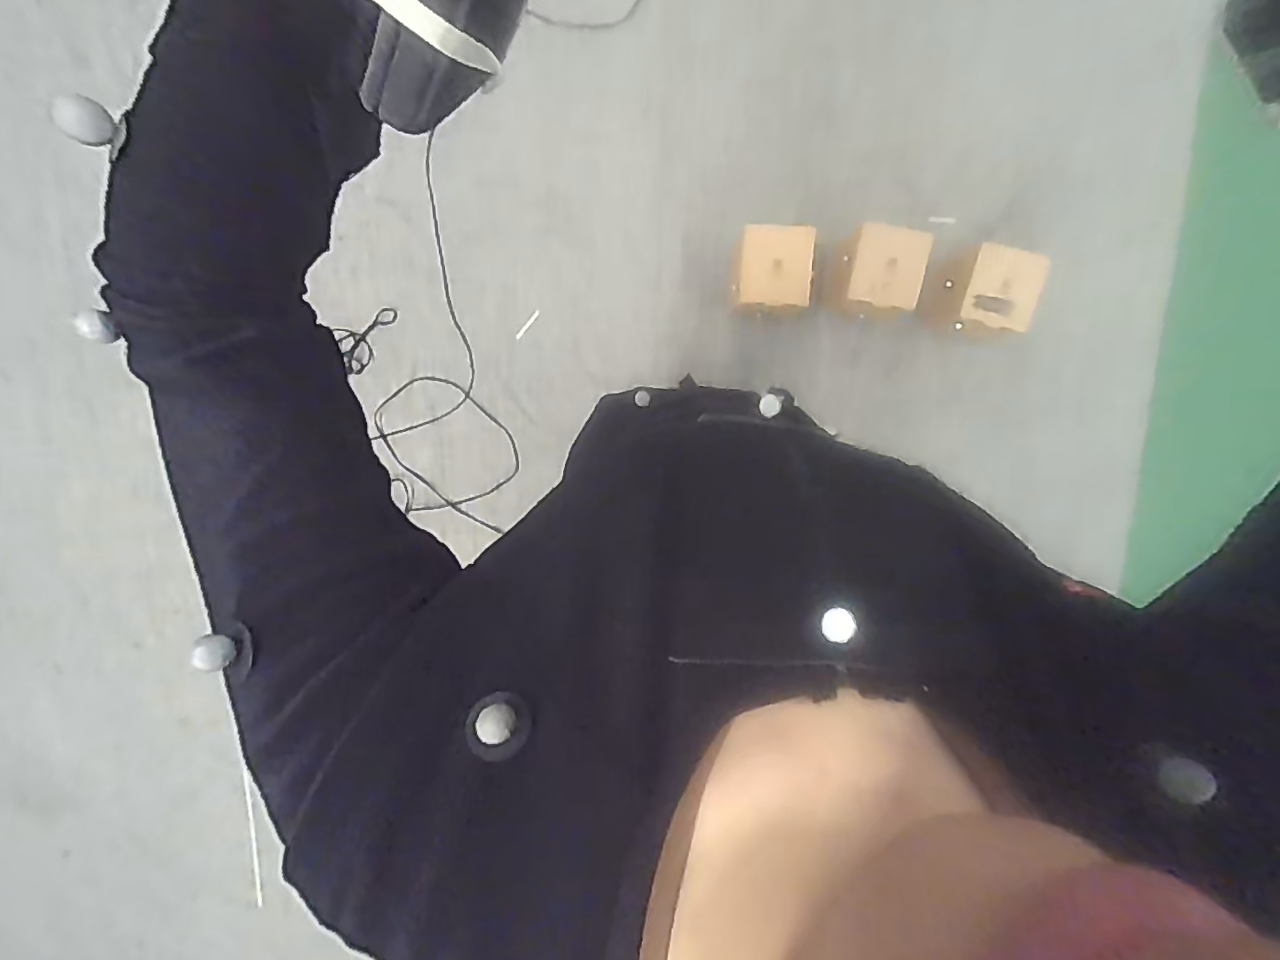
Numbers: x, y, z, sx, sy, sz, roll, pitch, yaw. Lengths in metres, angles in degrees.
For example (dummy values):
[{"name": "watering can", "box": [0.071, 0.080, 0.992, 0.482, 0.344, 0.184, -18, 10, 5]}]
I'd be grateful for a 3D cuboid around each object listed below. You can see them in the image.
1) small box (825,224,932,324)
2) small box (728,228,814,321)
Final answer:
[{"name": "small box", "box": [0.569, -0.492, 1.314, 0.168, 0.176, 0.179, 10, 99, 0]}, {"name": "small box", "box": [0.312, -0.495, 1.317, 0.168, 0.176, 0.179, 2, 99, 0]}]
